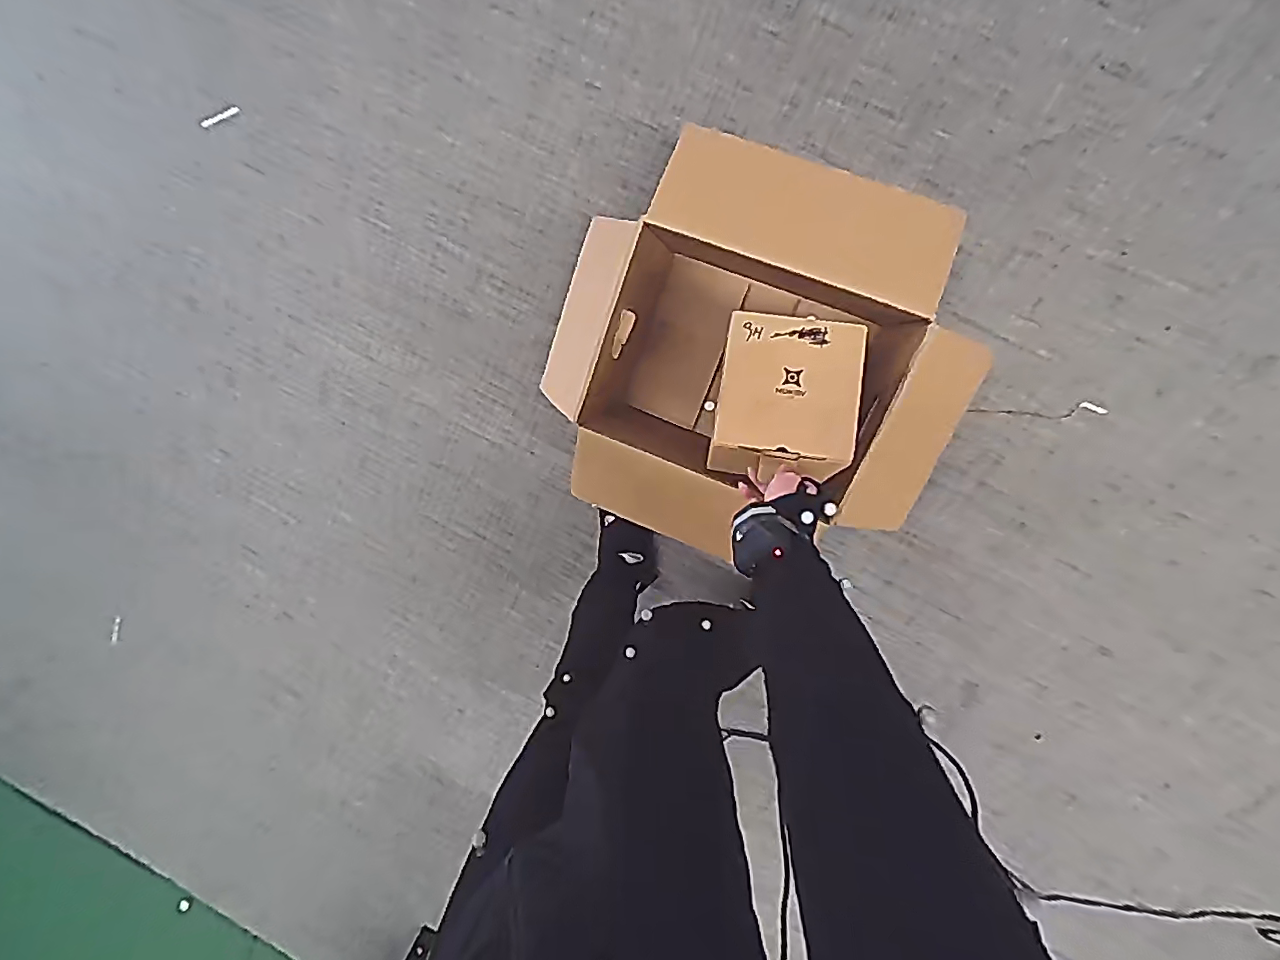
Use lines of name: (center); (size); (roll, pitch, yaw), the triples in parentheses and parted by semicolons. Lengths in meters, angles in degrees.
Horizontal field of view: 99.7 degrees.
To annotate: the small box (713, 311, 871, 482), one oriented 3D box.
small box: (0.194, -0.102, 0.736); (0.168, 0.176, 0.179); (10, 81, 7)
